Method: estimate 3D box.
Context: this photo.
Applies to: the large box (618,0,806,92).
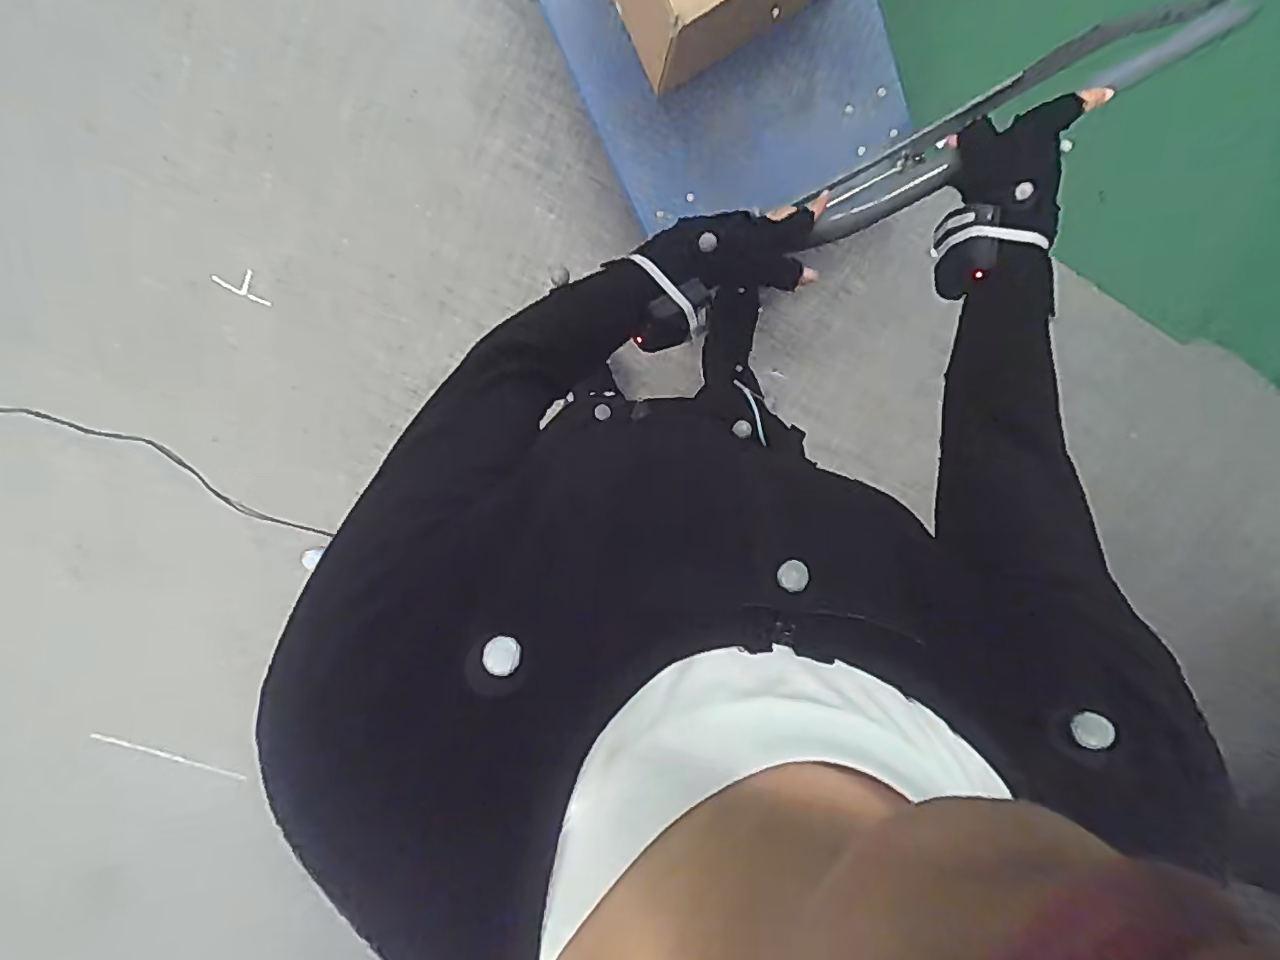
[{"bbox_3d":[0.147,-0.919,0.847,0.408,0.320,0.320,-28,108,7],"label":"large box"}]
